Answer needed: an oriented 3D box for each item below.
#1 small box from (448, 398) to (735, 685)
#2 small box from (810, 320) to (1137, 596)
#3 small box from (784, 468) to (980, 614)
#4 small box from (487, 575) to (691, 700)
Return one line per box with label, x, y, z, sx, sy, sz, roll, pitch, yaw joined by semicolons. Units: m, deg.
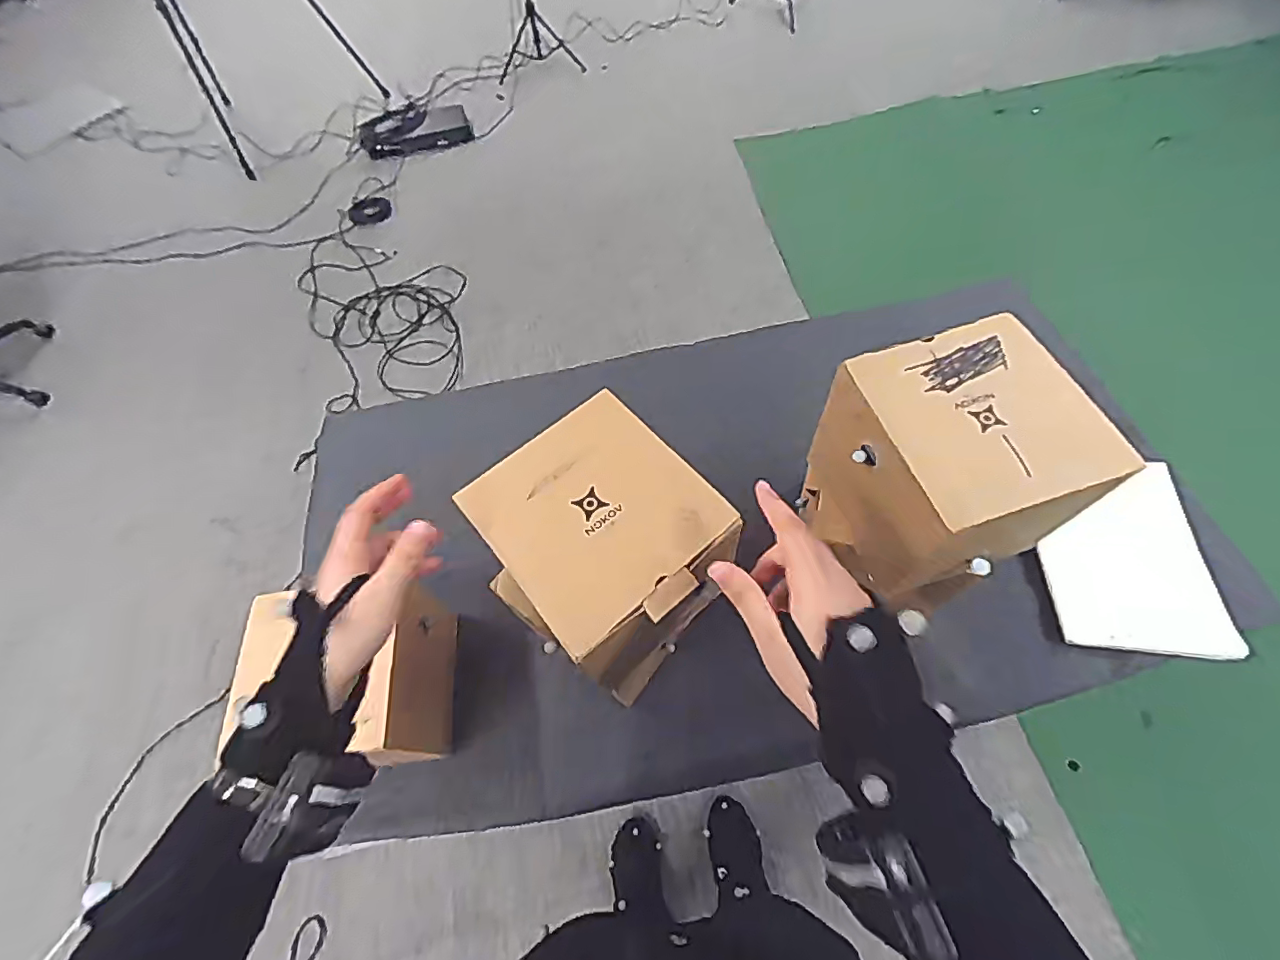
small box;-0.036;0.066;0.498;0.168;0.176;0.179;-39;65;-17
small box;0.281;-0.014;0.513;0.168;0.176;0.179;-18;61;-4
small box;0.288;0.052;0.664;0.179;0.176;0.168;13;63;12
small box;-0.043;0.141;0.644;0.179;0.176;0.168;32;68;20
